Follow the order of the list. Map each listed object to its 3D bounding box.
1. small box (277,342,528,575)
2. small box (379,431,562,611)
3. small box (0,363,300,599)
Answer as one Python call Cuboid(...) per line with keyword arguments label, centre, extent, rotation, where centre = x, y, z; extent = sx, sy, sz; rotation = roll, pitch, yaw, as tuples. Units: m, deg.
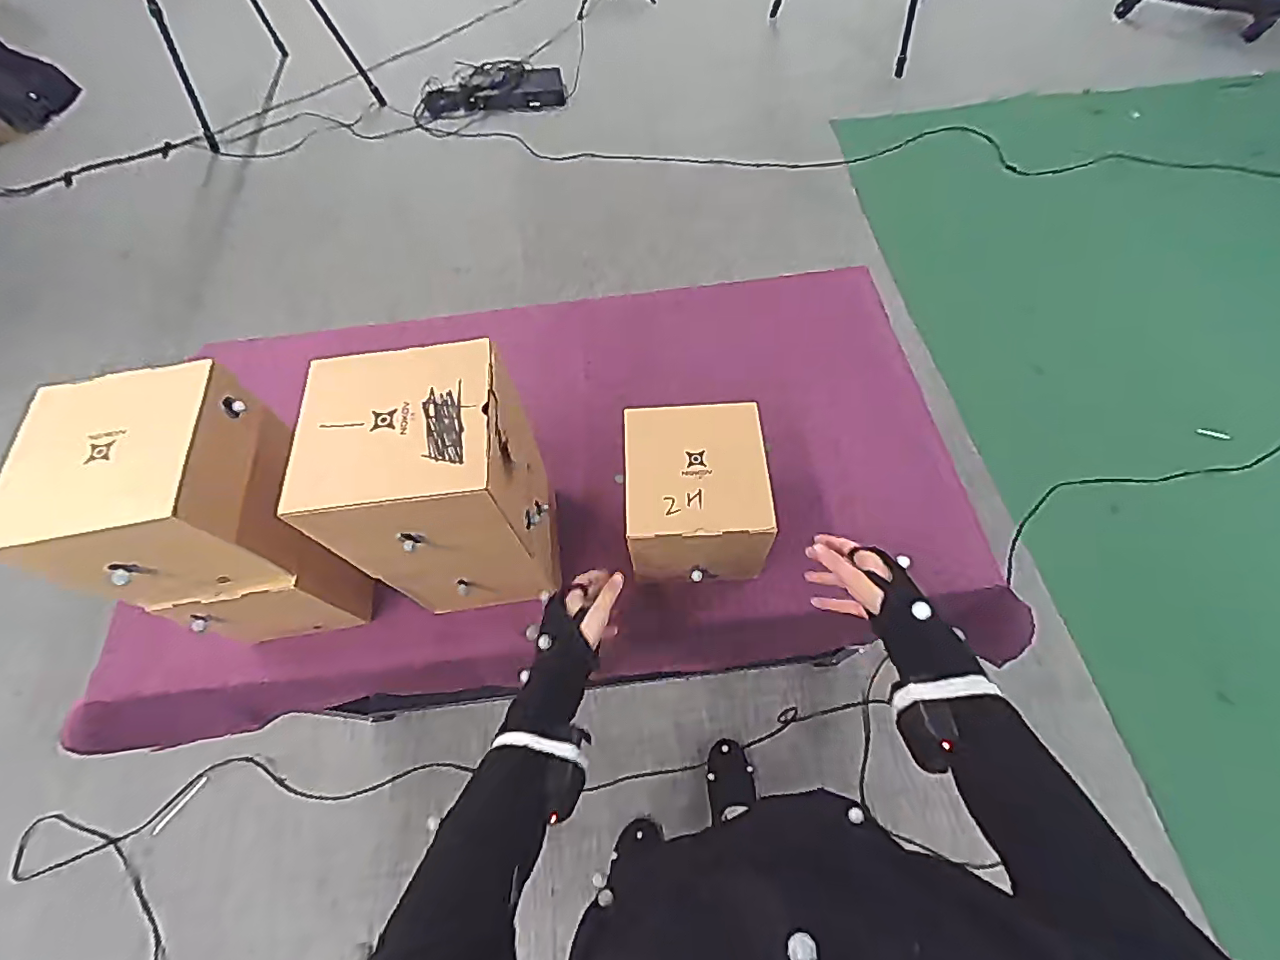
Cuboid(label="small box", centre=(-0.215, -0.013, 0.549), extent=(0.179, 0.176, 0.168), rotation=(-7, 61, 1))
Cuboid(label="small box", centre=(-0.206, 0.060, 0.697), extent=(0.179, 0.176, 0.168), rotation=(-8, 62, 0))
Cuboid(label="small box", centre=(-0.474, 0.012, 0.556), extent=(0.168, 0.176, 0.179), rotation=(-11, 61, -2))
